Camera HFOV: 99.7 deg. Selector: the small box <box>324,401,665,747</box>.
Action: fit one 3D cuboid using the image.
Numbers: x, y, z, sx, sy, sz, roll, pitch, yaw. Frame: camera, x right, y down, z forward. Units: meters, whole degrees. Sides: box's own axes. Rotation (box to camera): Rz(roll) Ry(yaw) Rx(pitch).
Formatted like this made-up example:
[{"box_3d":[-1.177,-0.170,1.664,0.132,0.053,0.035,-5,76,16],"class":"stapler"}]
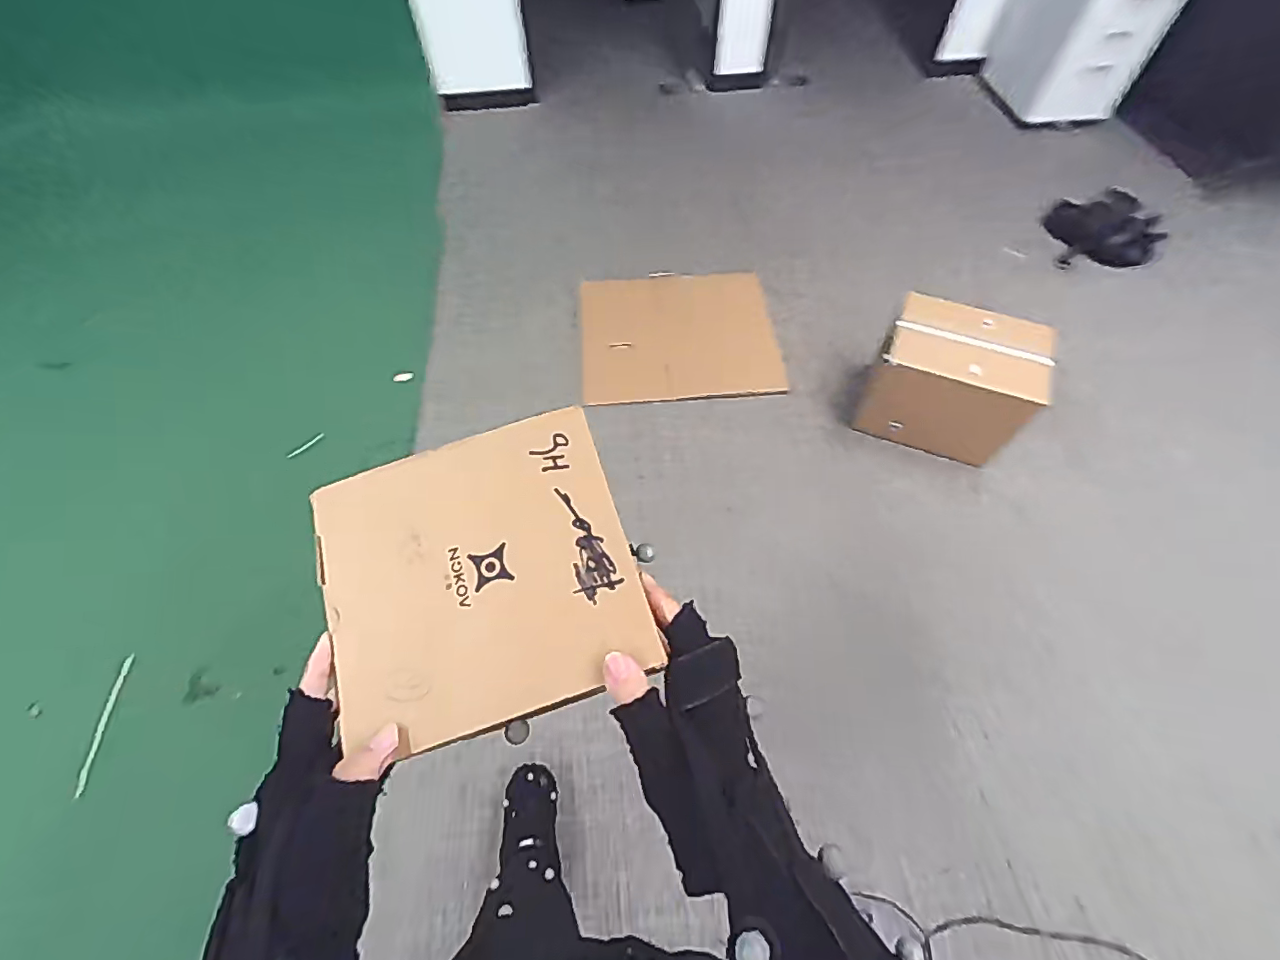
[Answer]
[{"box_3d":[-0.090,0.077,0.395,0.179,0.176,0.168,-21,67,-5],"class":"small box"}]
